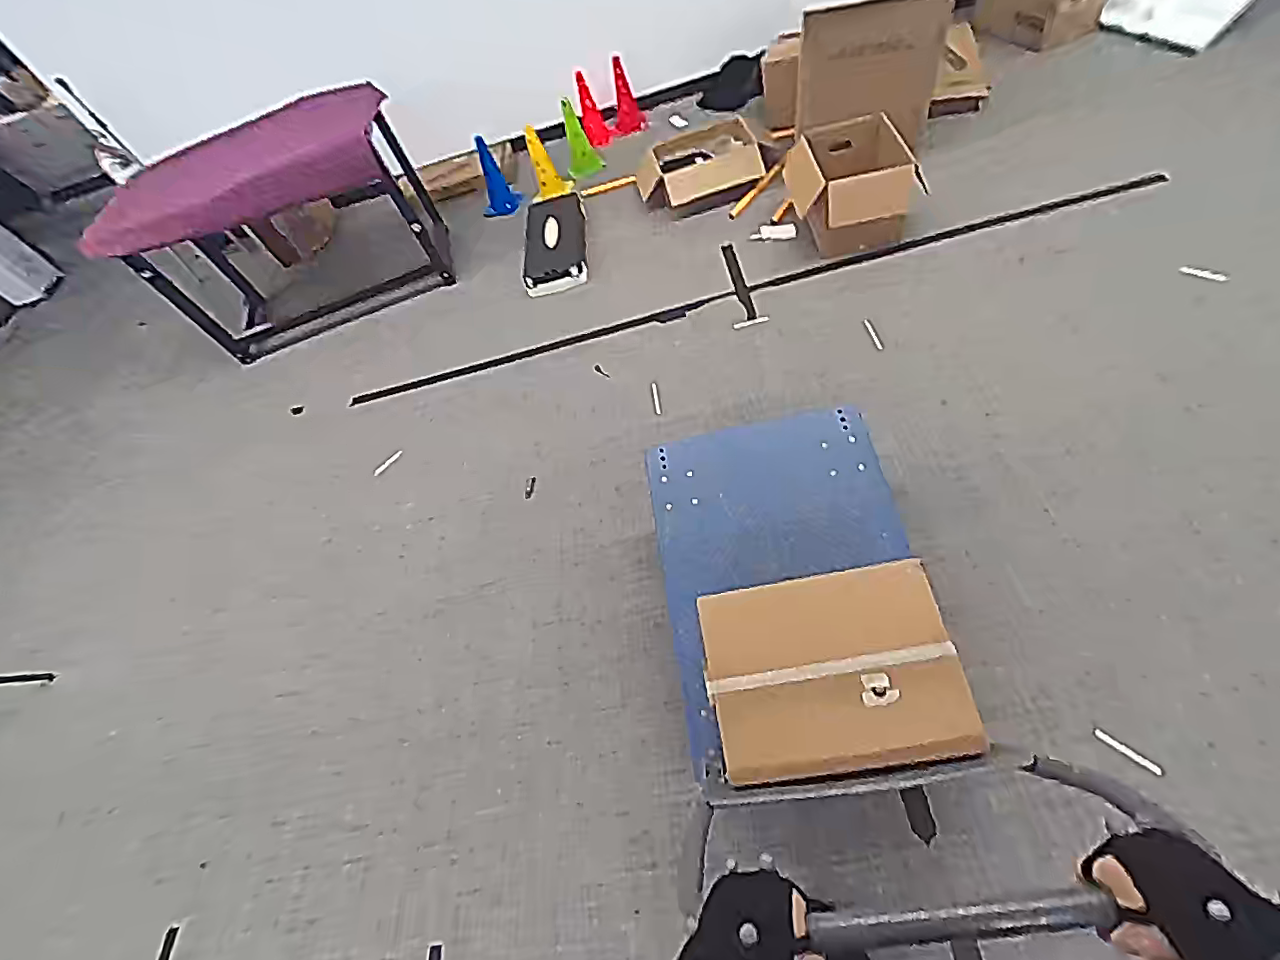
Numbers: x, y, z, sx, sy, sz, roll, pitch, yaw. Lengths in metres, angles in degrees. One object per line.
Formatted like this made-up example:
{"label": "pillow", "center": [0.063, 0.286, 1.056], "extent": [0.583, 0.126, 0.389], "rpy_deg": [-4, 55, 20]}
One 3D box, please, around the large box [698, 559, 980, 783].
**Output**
{"label": "large box", "center": [0.350, 0.380, 1.067], "extent": [0.408, 0.320, 0.320], "rpy_deg": [-12, 65, 6]}
